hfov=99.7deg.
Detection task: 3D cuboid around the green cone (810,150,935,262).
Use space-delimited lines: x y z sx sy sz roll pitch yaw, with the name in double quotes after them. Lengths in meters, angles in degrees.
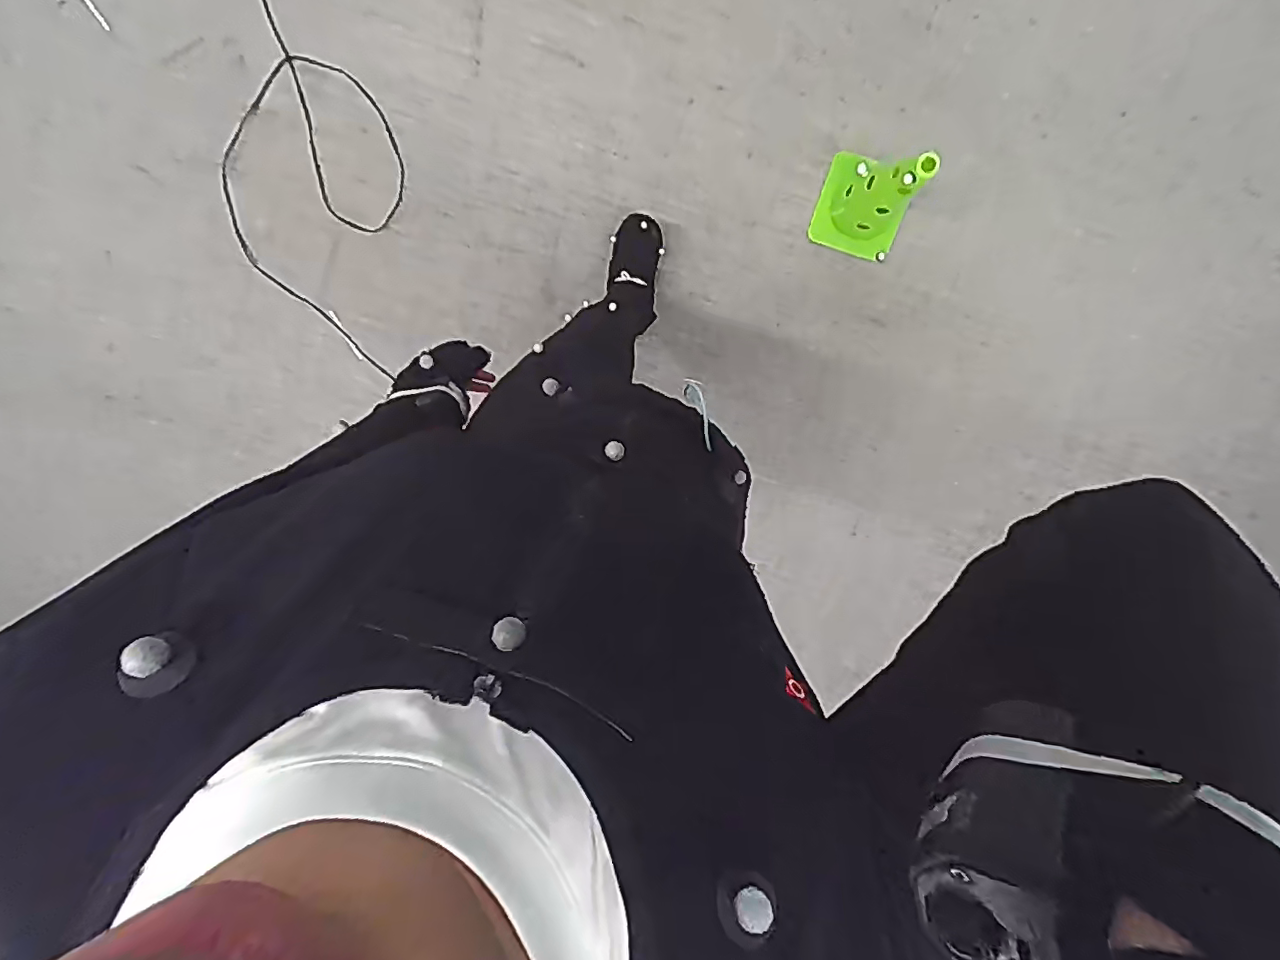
0.507 -0.592 1.098 0.202 0.368 0.200 17 105 0 "green cone"
